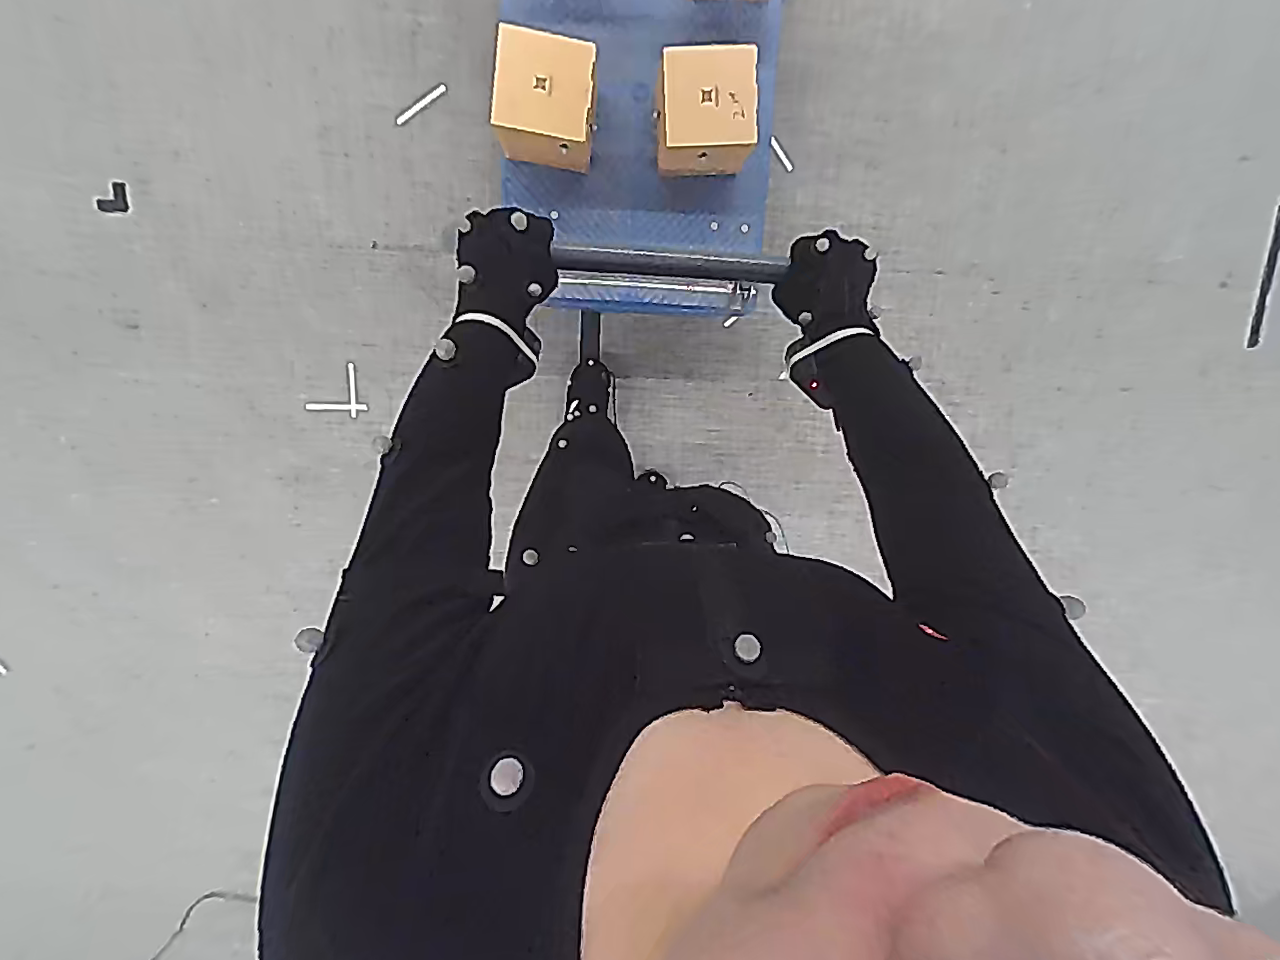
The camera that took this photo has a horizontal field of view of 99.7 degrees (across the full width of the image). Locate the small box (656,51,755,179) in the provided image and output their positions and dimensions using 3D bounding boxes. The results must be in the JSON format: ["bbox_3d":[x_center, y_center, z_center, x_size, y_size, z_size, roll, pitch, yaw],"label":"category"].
[{"bbox_3d":[0.124,-0.720,1.083,0.179,0.176,0.168,-3,103,-3],"label":"small box"}]

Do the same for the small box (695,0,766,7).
[{"bbox_3d":[0.185,-1.046,1.016,0.168,0.176,0.179,-1,103,-3],"label":"small box"}]

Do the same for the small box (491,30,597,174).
[{"bbox_3d":[-0.182,-0.727,1.062,0.179,0.176,0.168,7,101,-7],"label":"small box"}]
